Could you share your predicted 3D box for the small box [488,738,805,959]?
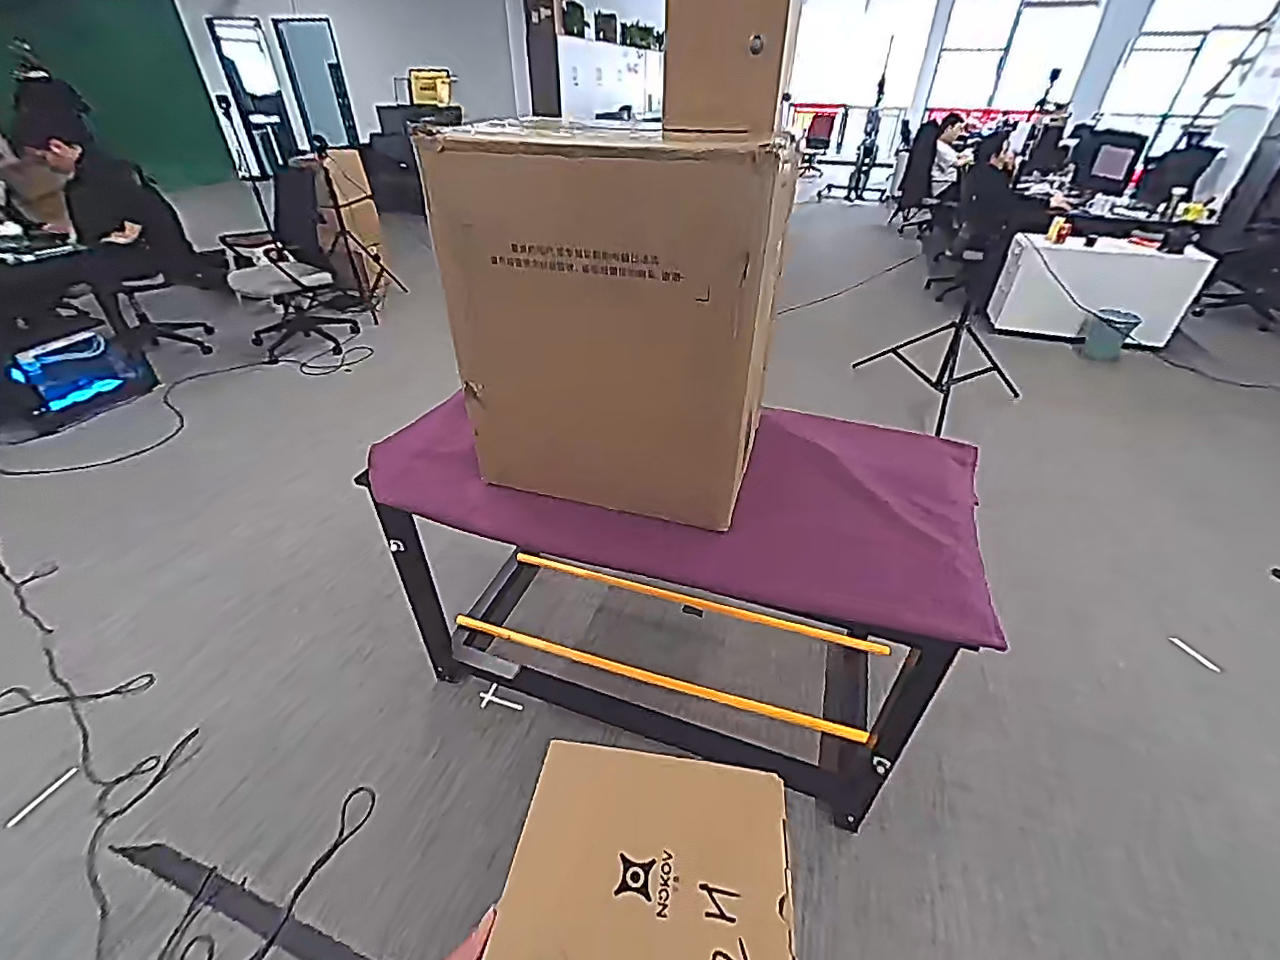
[{"bbox_3d":[0.010,0.313,0.374,0.179,0.176,0.168,6,32,7],"label":"small box"}]
